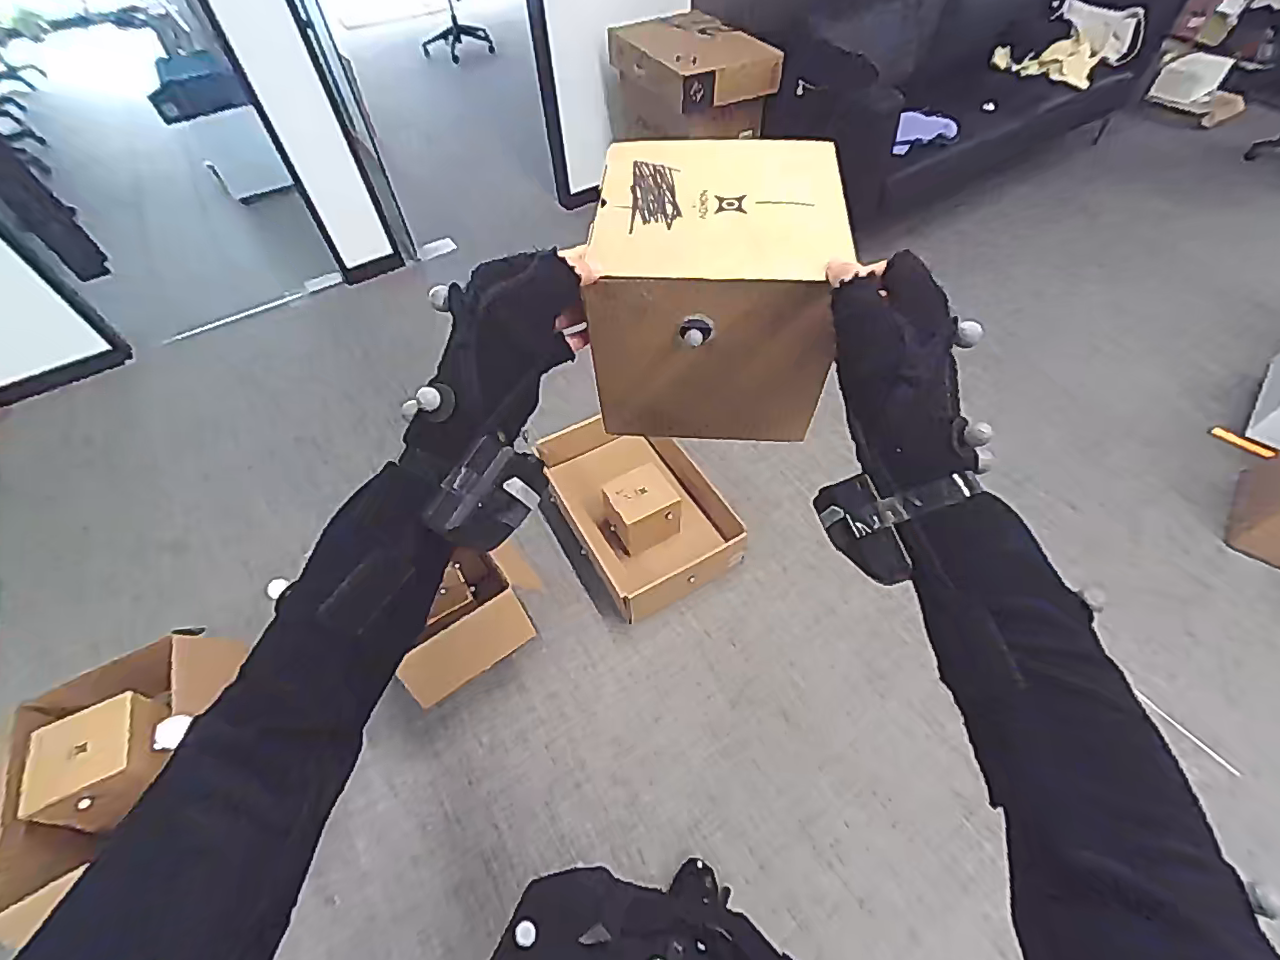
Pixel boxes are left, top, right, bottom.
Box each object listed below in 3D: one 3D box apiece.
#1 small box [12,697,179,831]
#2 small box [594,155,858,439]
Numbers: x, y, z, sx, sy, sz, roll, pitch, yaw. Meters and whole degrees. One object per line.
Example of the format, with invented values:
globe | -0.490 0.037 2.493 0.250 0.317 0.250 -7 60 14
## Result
small box | -1.079 0.575 1.093 0.179 0.176 0.168 -23 54 -17
small box | 0.065 -0.149 0.463 0.179 0.176 0.168 3 57 4
